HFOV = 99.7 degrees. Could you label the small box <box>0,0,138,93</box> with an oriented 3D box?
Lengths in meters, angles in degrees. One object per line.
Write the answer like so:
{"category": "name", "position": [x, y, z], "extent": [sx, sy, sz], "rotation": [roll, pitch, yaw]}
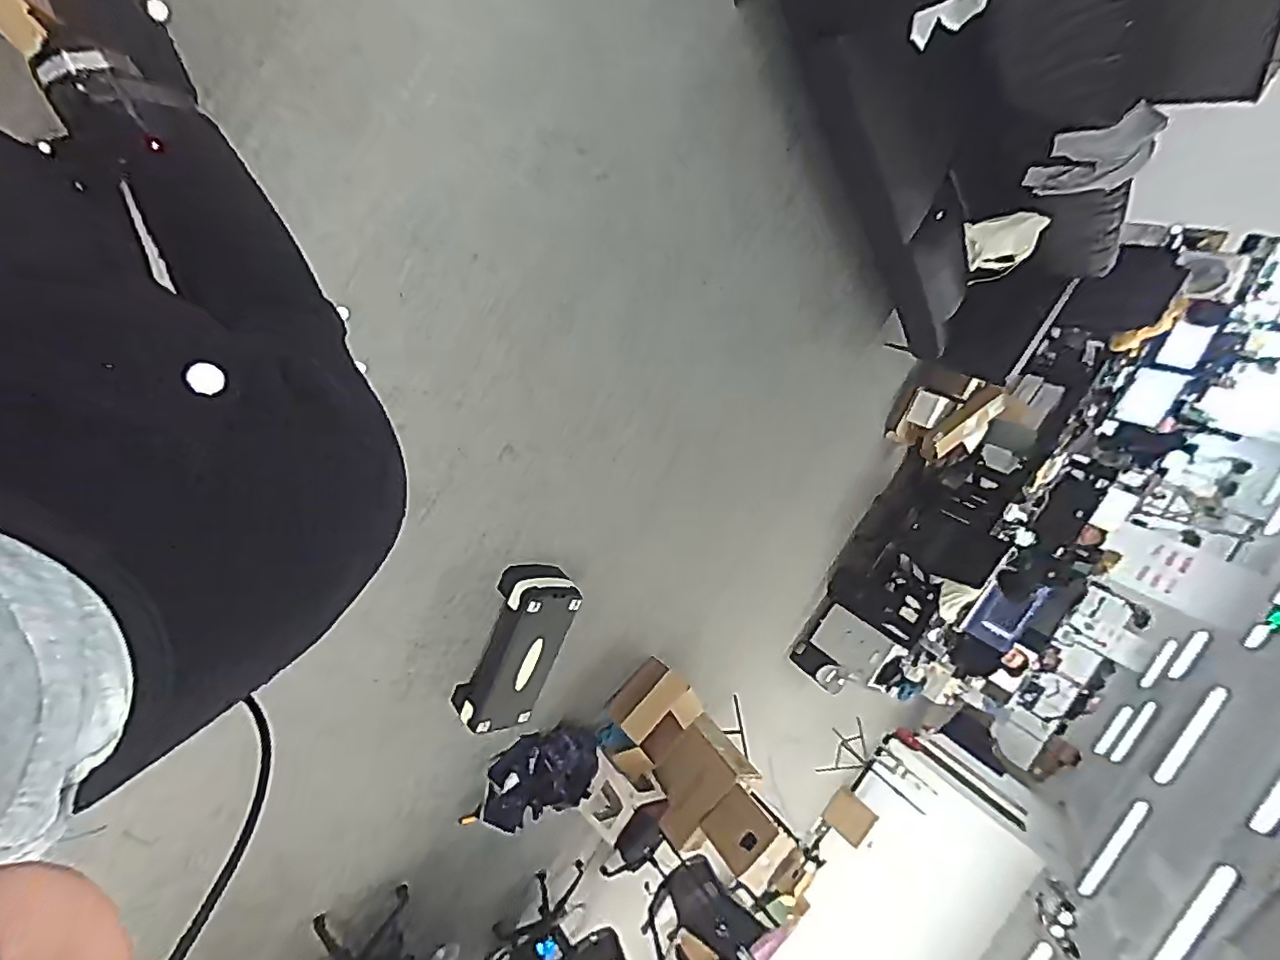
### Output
{"category": "small box", "position": [-0.868, -0.687, 0.763], "extent": [0.179, 0.176, 0.168], "rotation": [-50, 138, -8]}

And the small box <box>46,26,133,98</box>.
{"category": "small box", "position": [-0.975, -0.755, 0.870], "extent": [0.179, 0.176, 0.168], "rotation": [-50, 138, -7]}
